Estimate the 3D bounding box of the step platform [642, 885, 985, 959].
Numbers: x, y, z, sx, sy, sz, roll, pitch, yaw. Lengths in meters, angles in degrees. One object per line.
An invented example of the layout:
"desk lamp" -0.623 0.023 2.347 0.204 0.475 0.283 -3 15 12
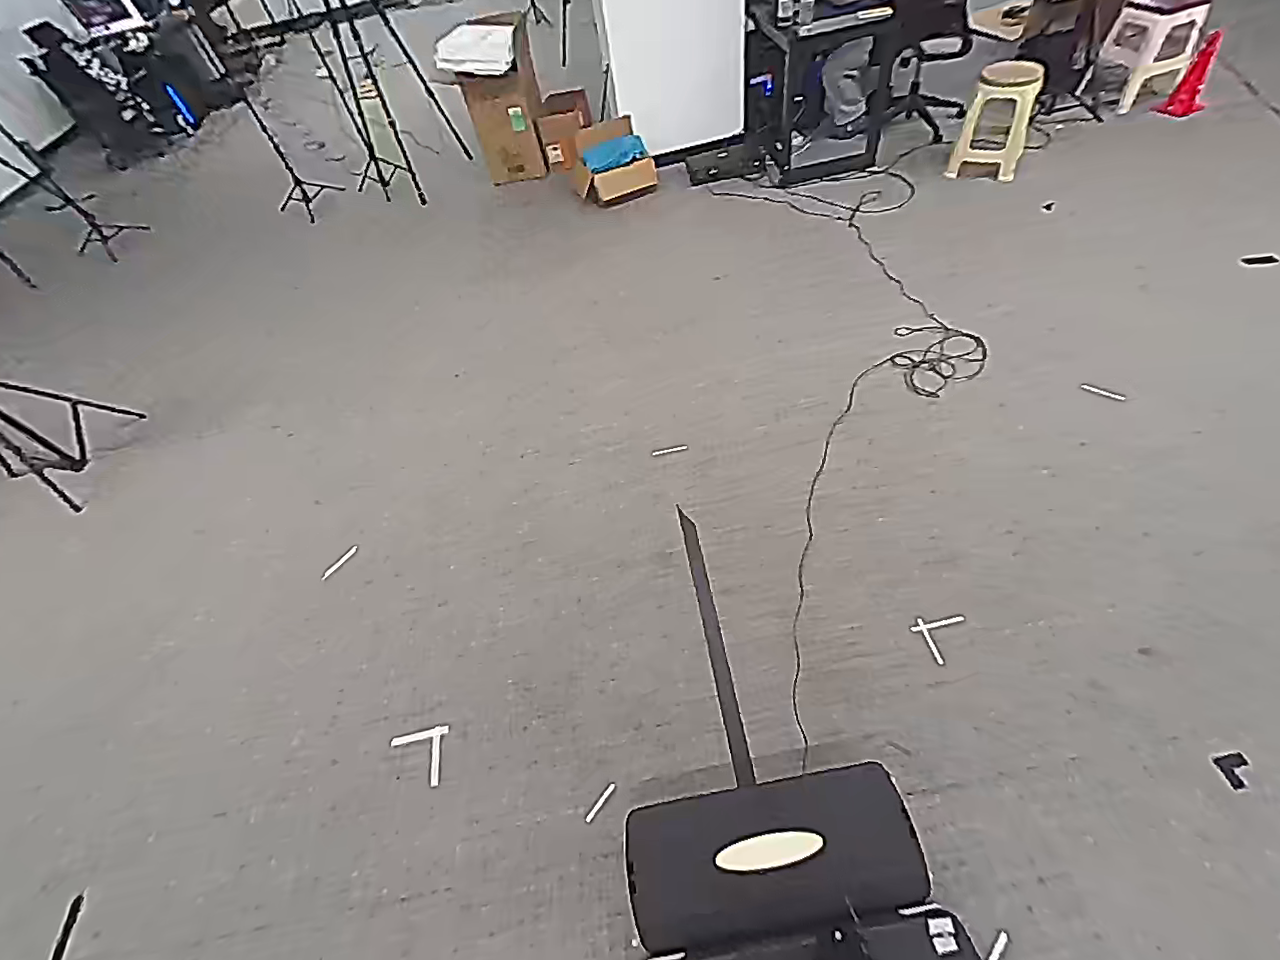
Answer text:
"step platform" 0.344 1.042 1.074 0.684 0.204 0.286 -14 50 2
